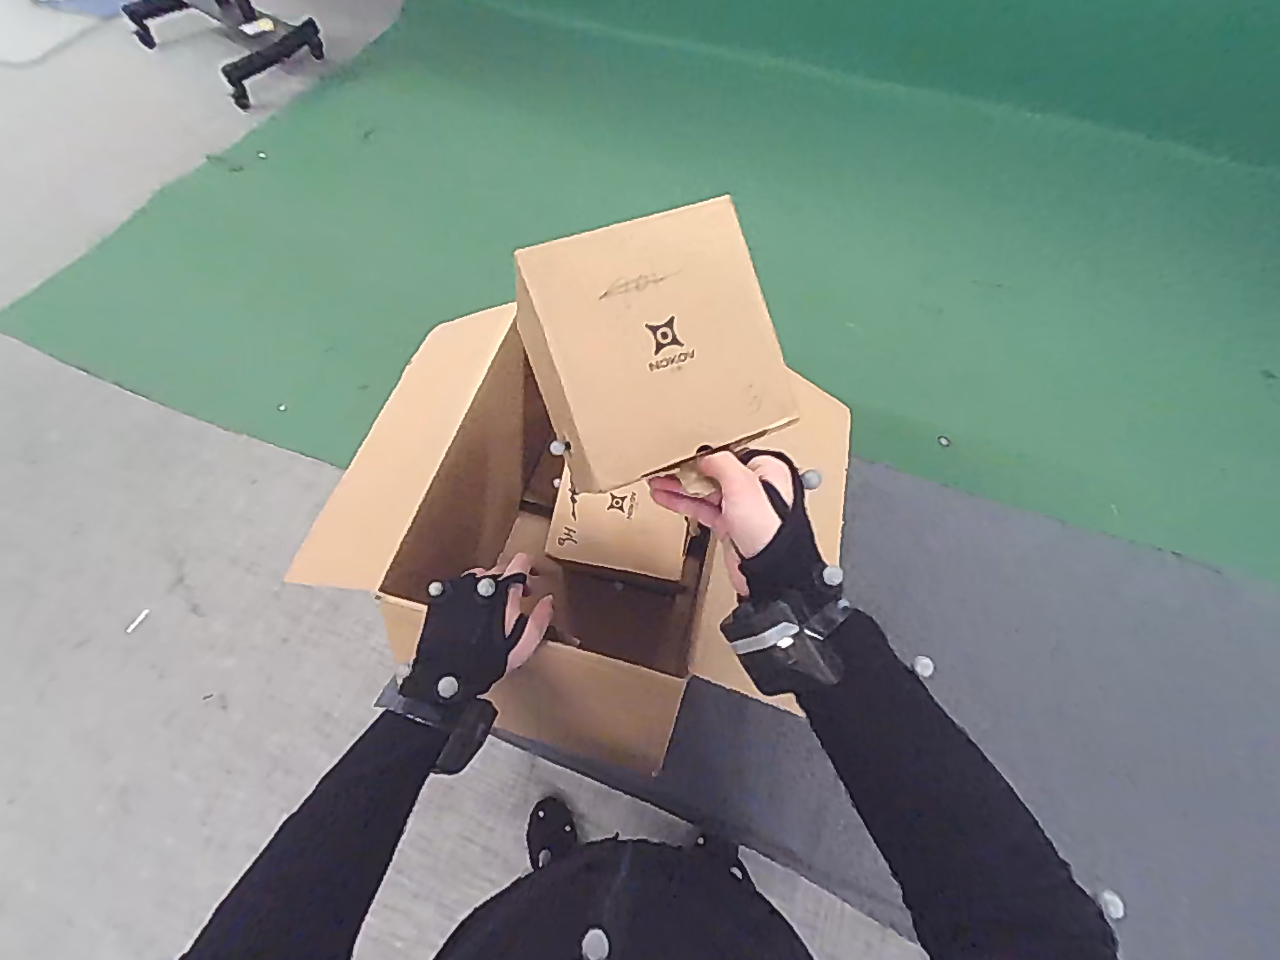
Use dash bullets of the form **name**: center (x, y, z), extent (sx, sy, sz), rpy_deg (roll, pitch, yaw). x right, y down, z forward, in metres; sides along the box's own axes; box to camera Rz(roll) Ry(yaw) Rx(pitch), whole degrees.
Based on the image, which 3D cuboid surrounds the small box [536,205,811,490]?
- **small box**: center (0.014, -0.099, 0.473), extent (0.168, 0.176, 0.179), rpy_deg (-20, 92, -12)
